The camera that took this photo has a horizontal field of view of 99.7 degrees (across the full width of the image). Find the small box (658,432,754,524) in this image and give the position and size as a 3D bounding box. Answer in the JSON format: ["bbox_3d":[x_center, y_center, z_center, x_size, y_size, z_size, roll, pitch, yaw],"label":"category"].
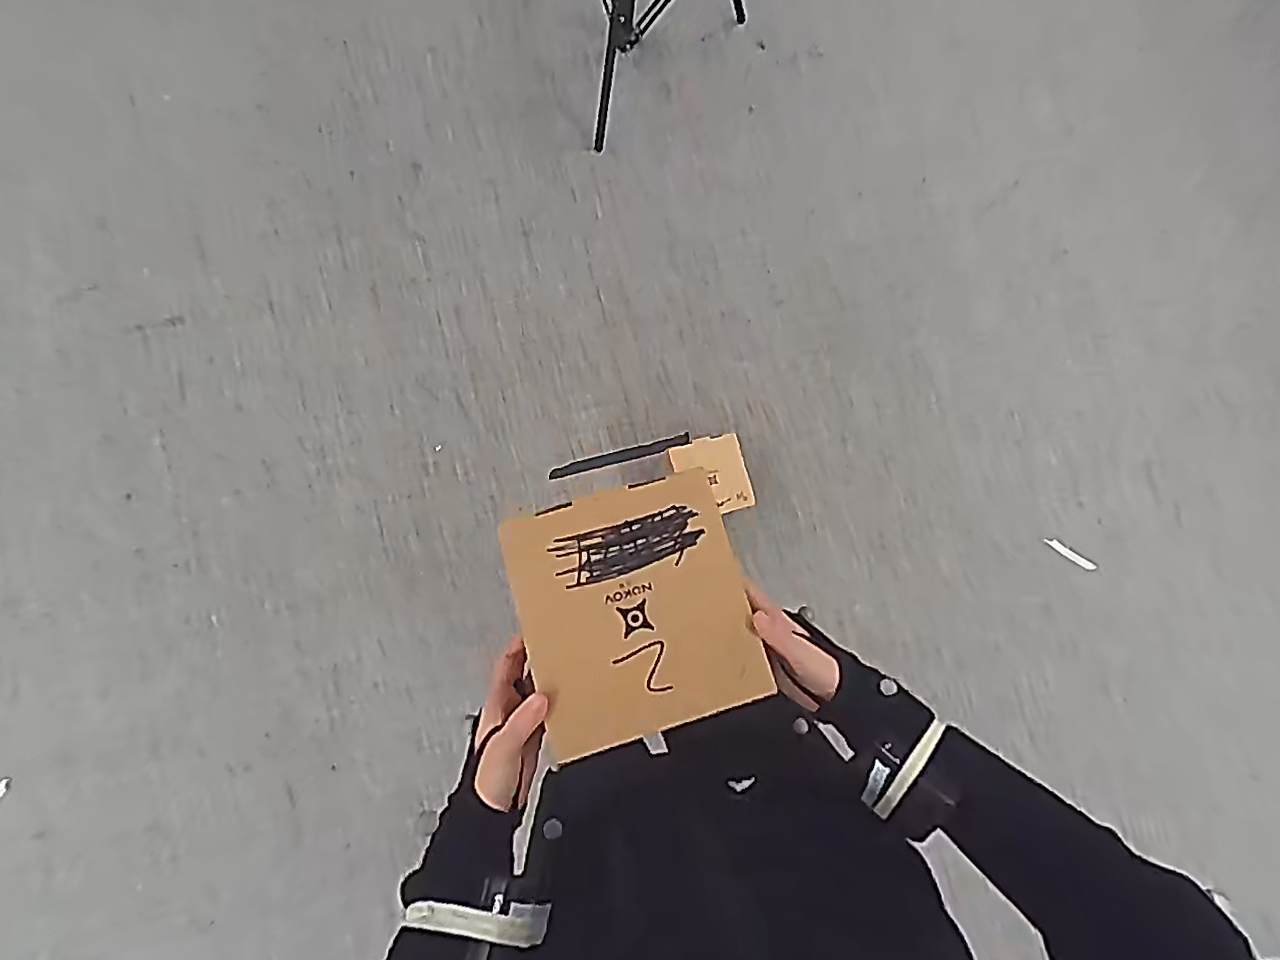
[{"bbox_3d":[0.149,0.001,1.292,0.168,0.176,0.179,-15,85,-9],"label":"small box"}]
